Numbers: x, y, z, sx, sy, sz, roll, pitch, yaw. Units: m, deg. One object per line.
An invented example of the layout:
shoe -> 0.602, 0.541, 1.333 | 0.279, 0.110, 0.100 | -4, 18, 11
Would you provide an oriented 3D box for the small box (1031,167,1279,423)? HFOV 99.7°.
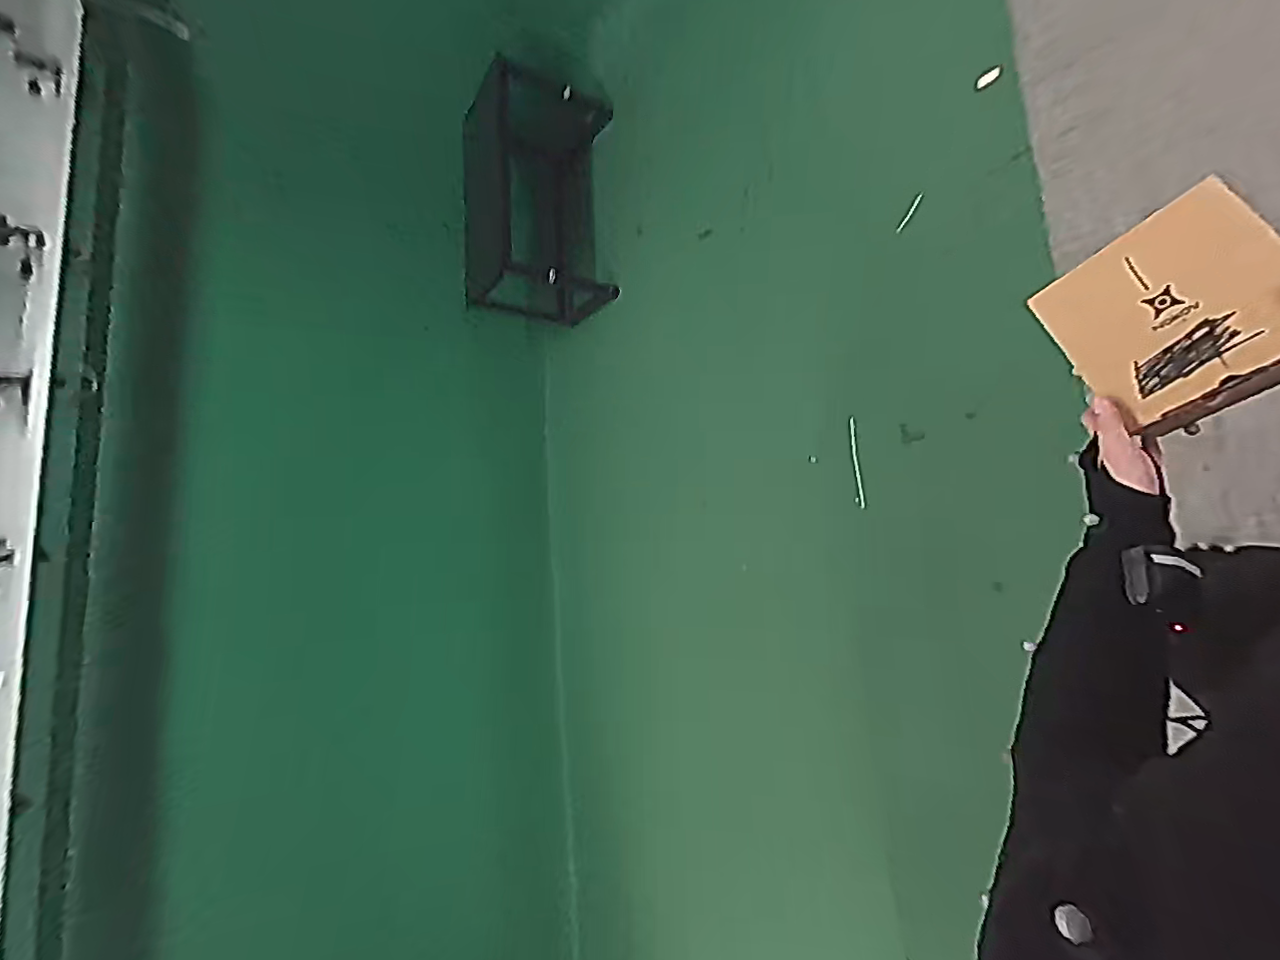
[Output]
small box -> 0.563, -0.173, 0.560 | 0.168, 0.176, 0.179 | -40, 61, 45
